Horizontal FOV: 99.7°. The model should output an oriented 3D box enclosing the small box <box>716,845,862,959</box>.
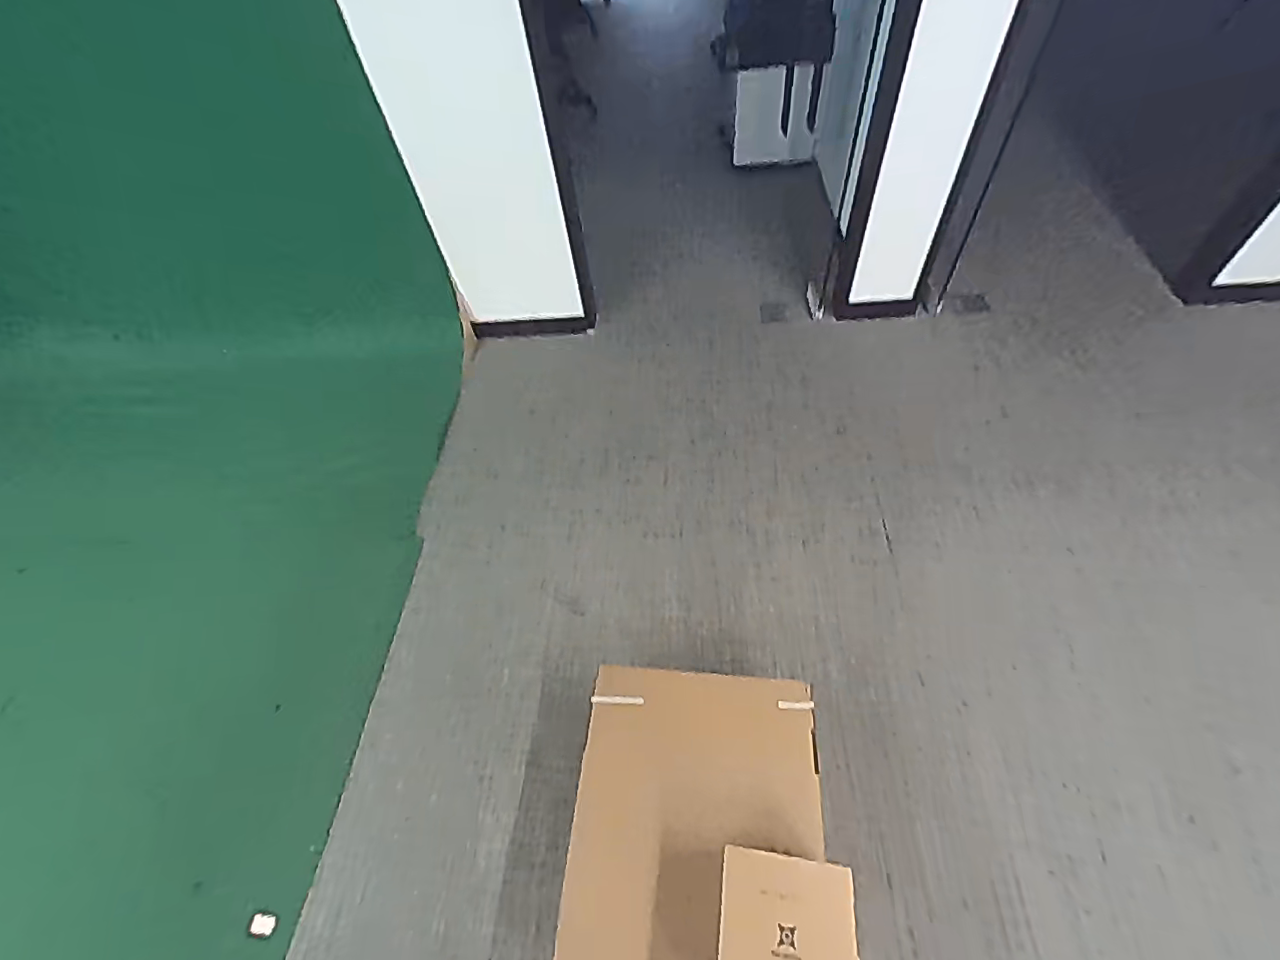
[{"bbox_3d":[0.191,0.611,0.719,0.168,0.176,0.179,5,53,9],"label":"small box"}]
